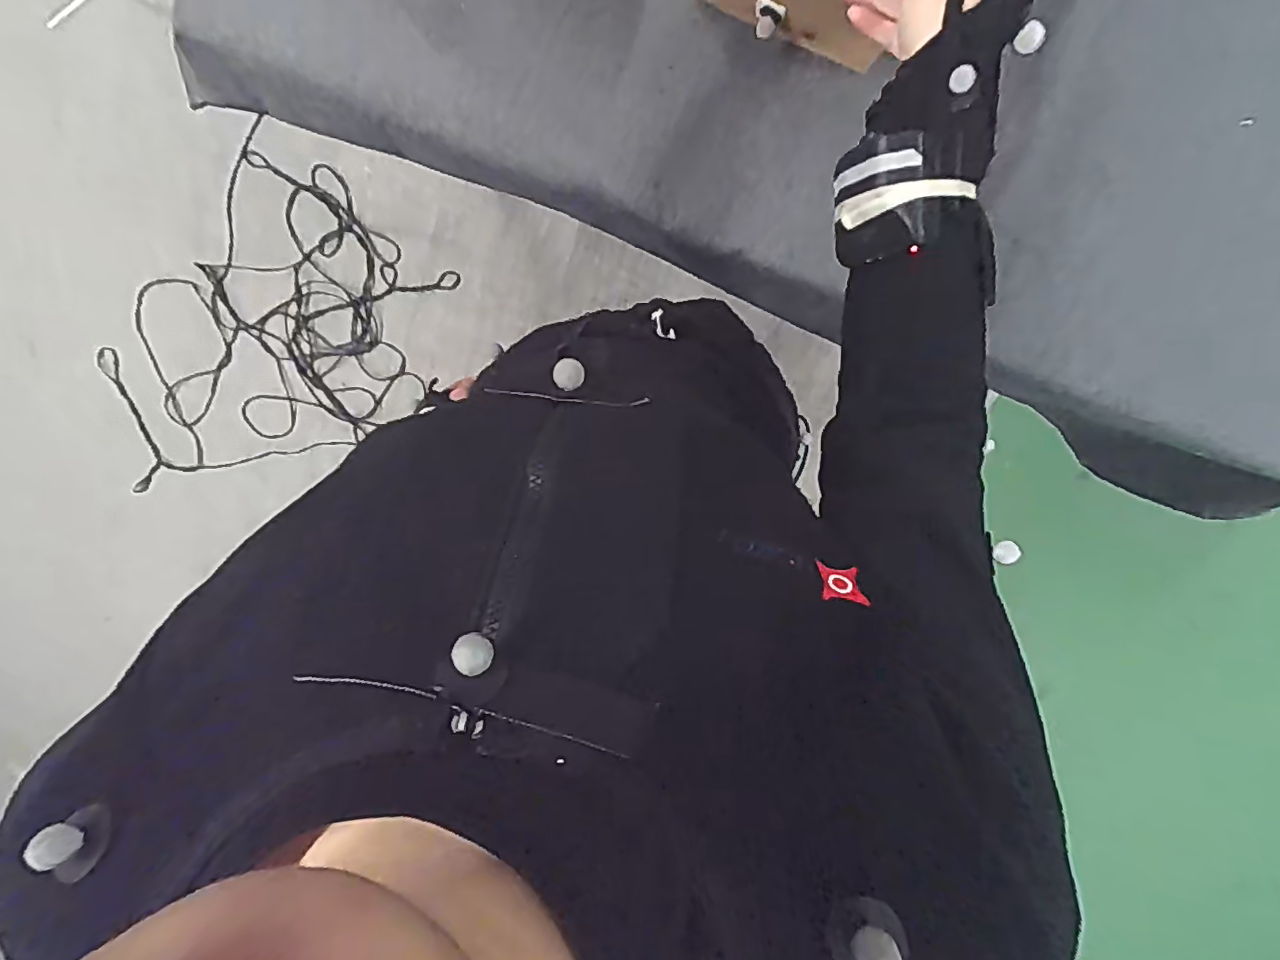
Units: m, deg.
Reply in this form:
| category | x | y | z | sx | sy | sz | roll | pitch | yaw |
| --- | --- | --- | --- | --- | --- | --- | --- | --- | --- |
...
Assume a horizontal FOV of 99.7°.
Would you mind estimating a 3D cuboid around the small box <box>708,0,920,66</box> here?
| category | x | y | z | sx | sy | sz | roll | pitch | yaw |
| --- | --- | --- | --- | --- | --- | --- | --- | --- | --- |
| small box | 0.144 | -0.434 | 0.364 | 0.168 | 0.176 | 0.179 | 21 | 110 | -1 |
